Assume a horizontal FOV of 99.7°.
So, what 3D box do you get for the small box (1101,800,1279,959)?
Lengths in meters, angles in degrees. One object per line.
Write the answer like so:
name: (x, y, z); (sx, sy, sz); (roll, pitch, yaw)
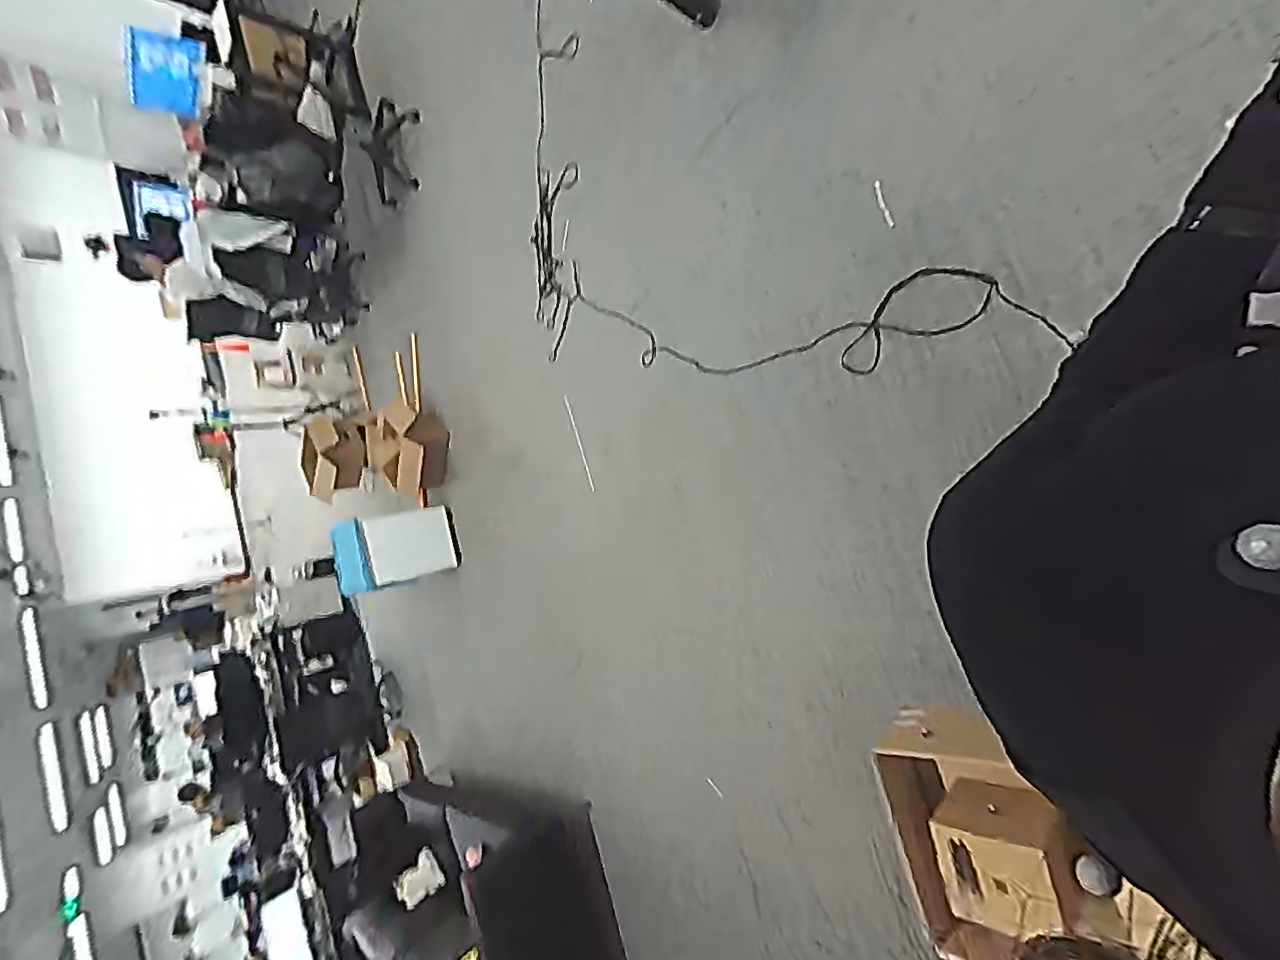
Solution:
small box: (0.812, 0.602, 0.779); (0.168, 0.176, 0.179); (-26, 78, 46)
